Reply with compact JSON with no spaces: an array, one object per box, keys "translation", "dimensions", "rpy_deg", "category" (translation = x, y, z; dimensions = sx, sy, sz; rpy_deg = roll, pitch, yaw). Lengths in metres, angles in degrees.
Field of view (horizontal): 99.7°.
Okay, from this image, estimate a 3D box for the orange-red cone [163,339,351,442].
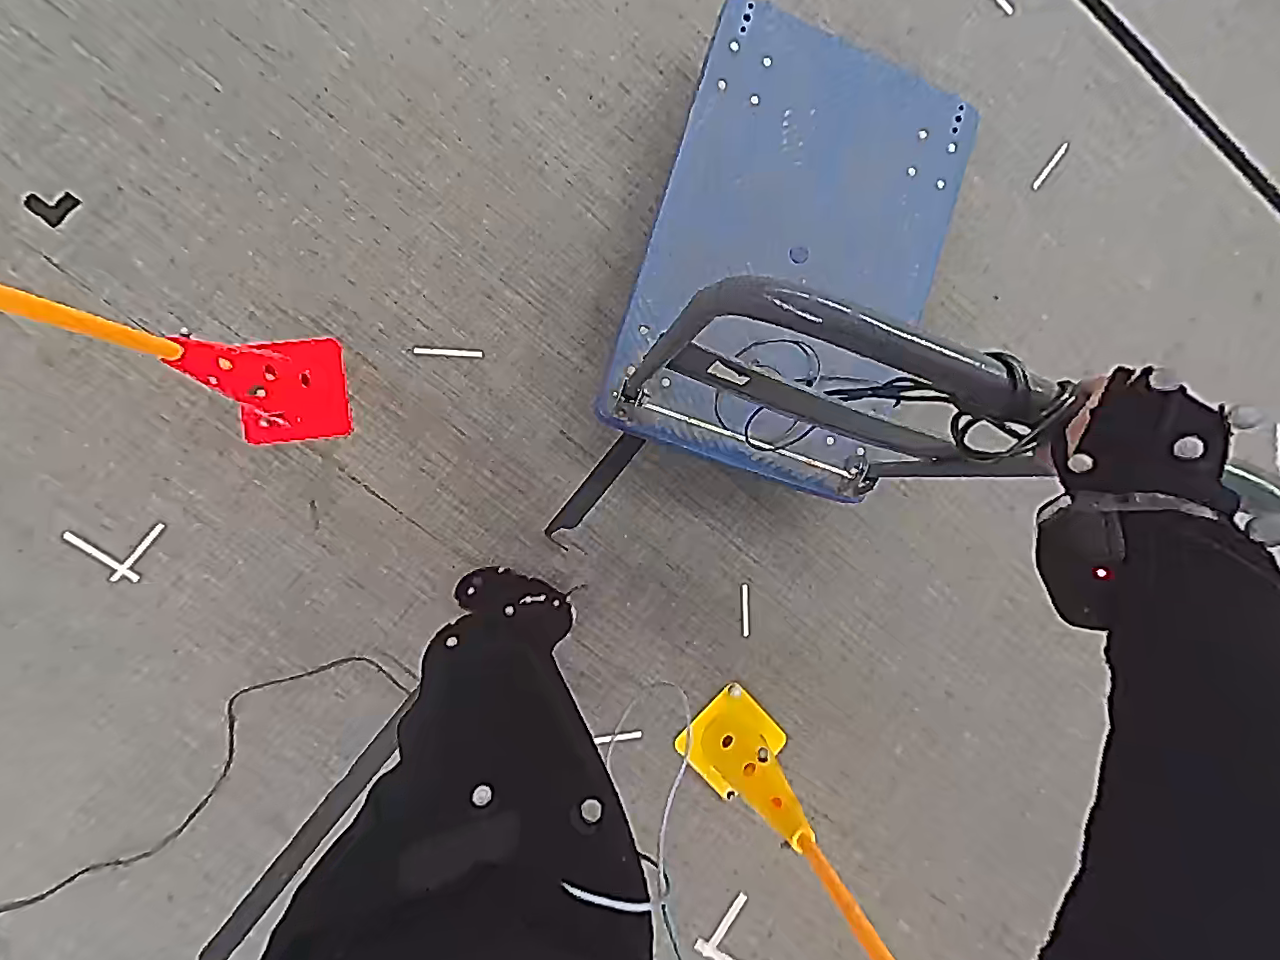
[{"translation":[-0.653,-0.175,0.902],"dimensions":[0.199,0.360,0.198],"rpy_deg":[-6,92,-11],"category":"orange-red cone"}]
